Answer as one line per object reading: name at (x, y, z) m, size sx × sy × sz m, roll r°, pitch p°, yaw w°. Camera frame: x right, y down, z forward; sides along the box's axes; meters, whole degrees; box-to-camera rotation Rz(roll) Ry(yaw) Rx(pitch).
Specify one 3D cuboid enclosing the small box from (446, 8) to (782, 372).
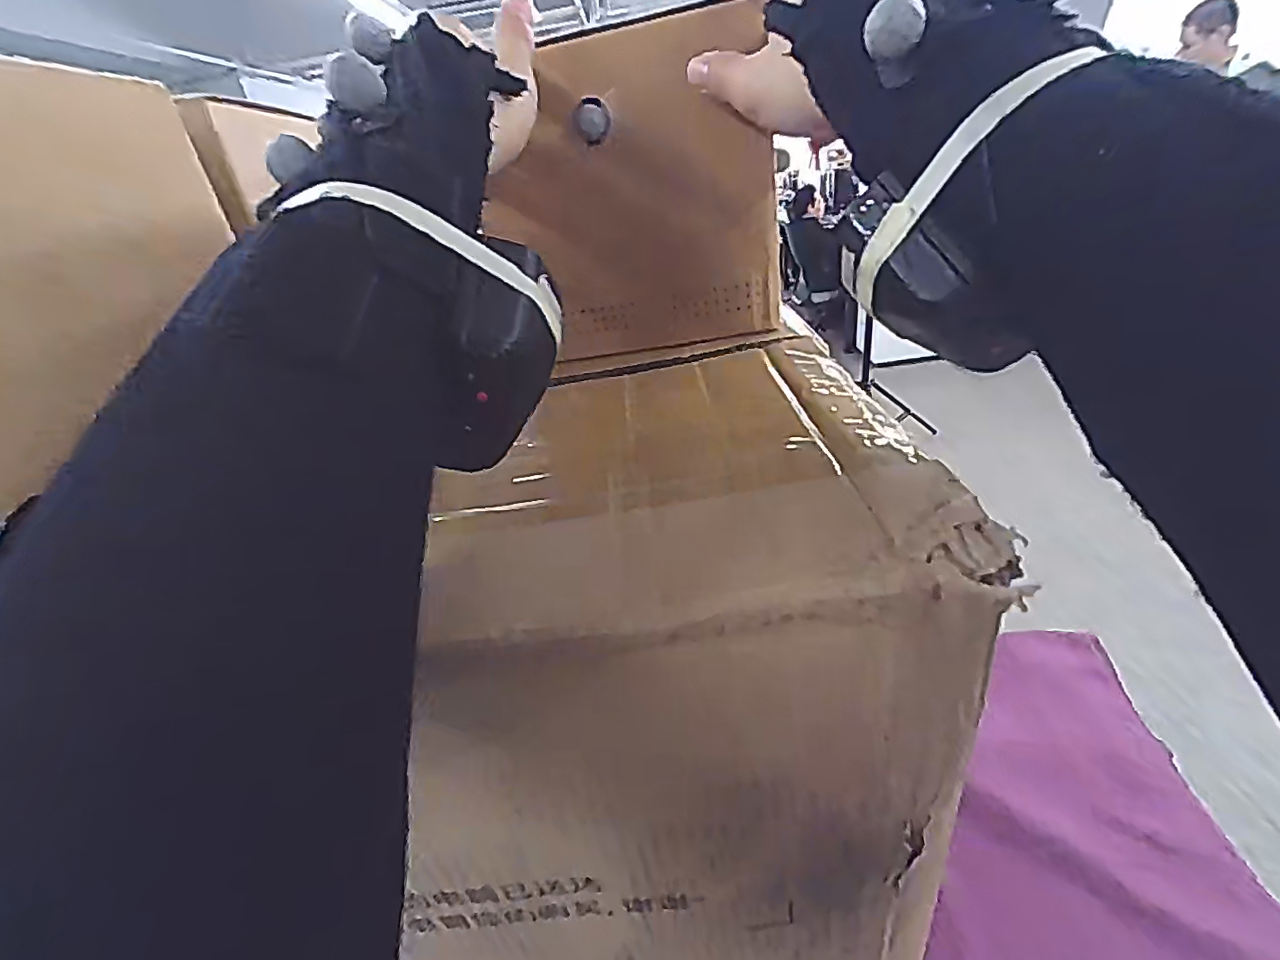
small box at (0.002, -0.188, 0.379) m, size 0.179 × 0.176 × 0.168 m, roll -6°, pitch 30°, yaw 9°
